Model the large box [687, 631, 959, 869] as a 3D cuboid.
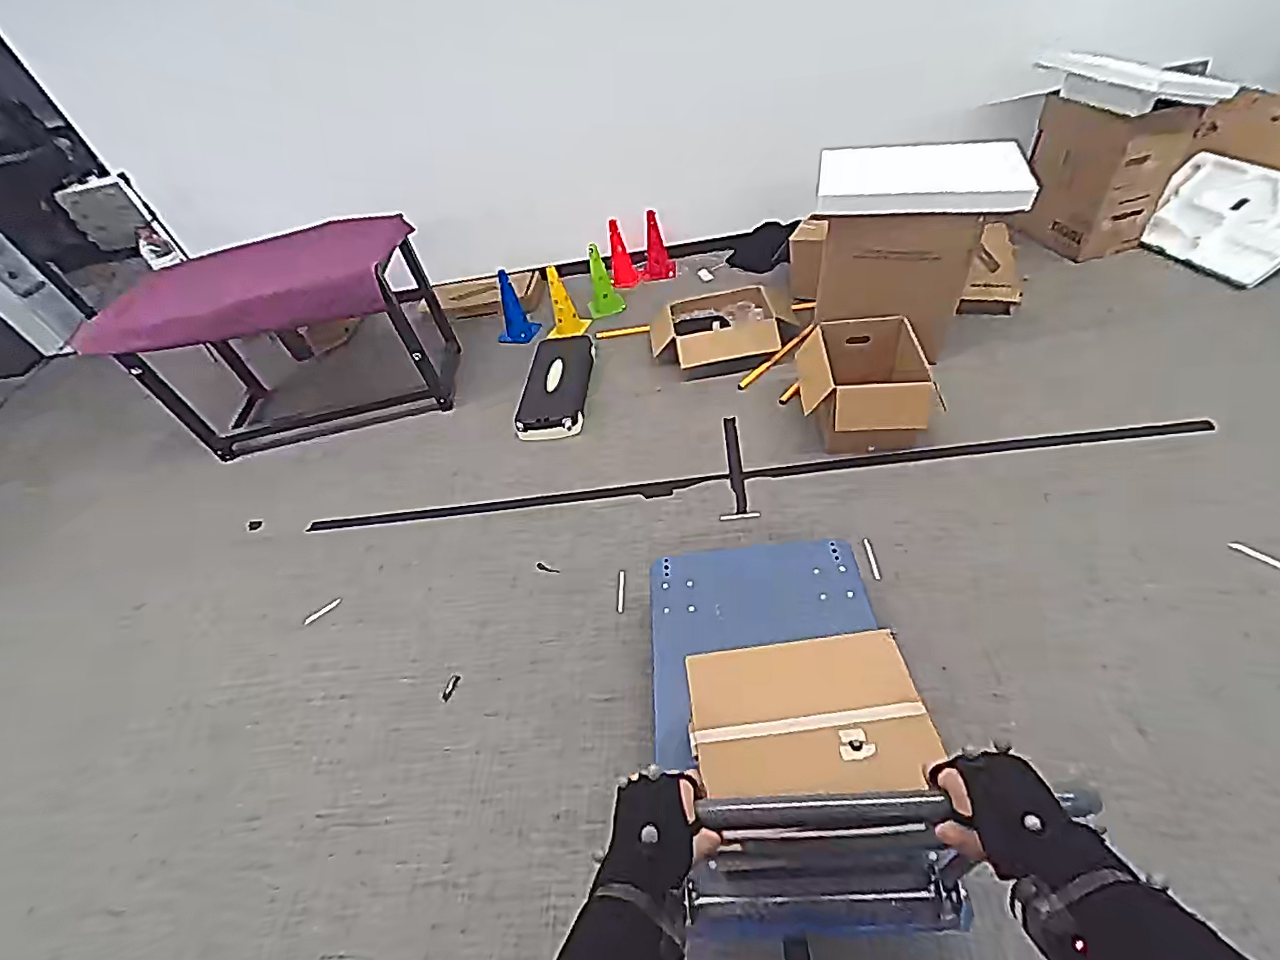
[{"bbox_3d":[0.322,0.539,1.073,0.408,0.320,0.320,-9,46,3],"label":"large box"}]
